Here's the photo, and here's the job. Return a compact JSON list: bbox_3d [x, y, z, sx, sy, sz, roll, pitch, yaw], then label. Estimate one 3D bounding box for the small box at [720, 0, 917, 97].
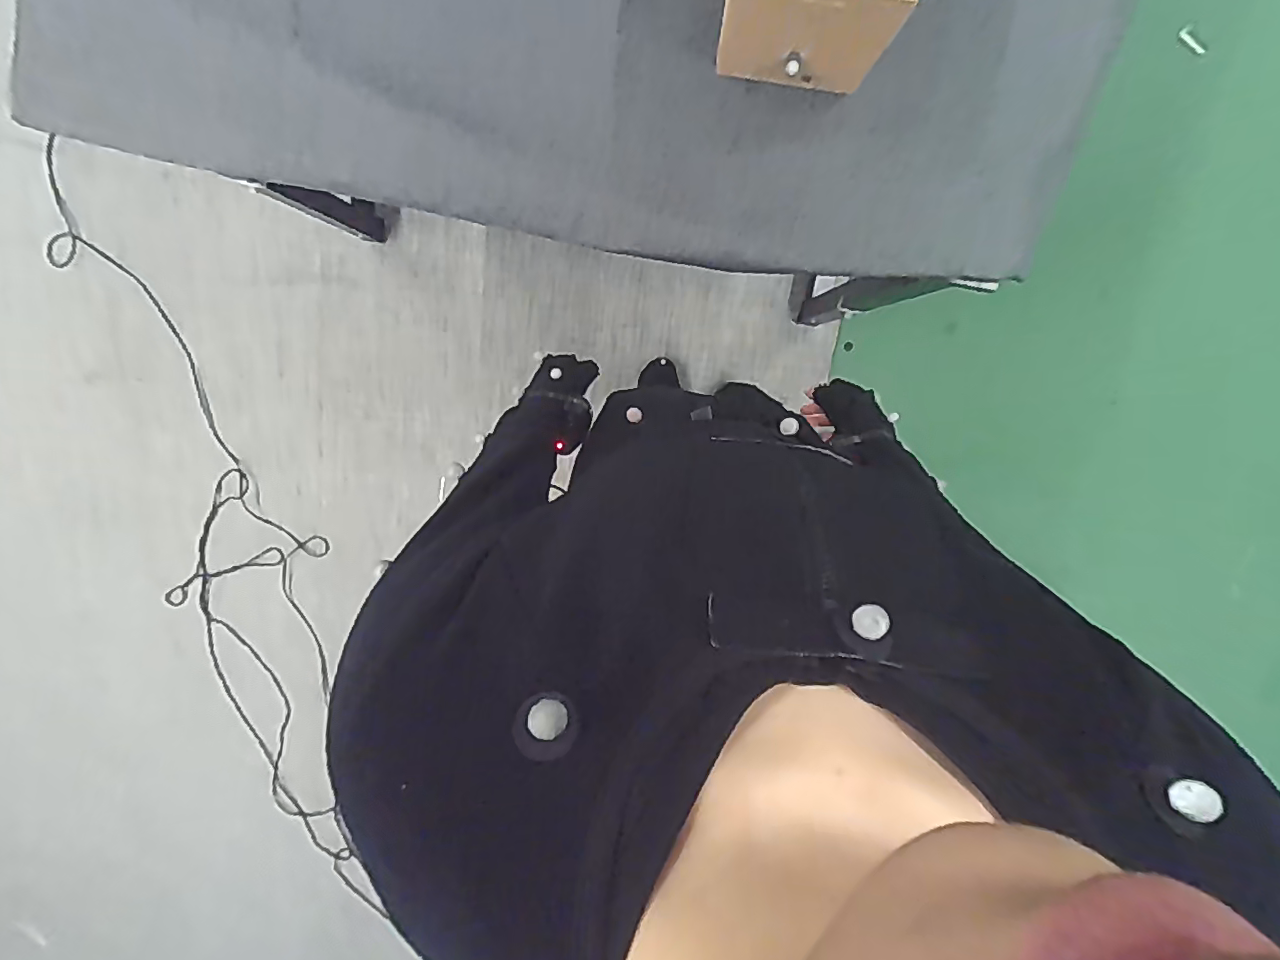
[{"bbox_3d":[0.181,-0.533,0.543,0.168,0.176,0.179,9,101,0],"label":"small box"}]
